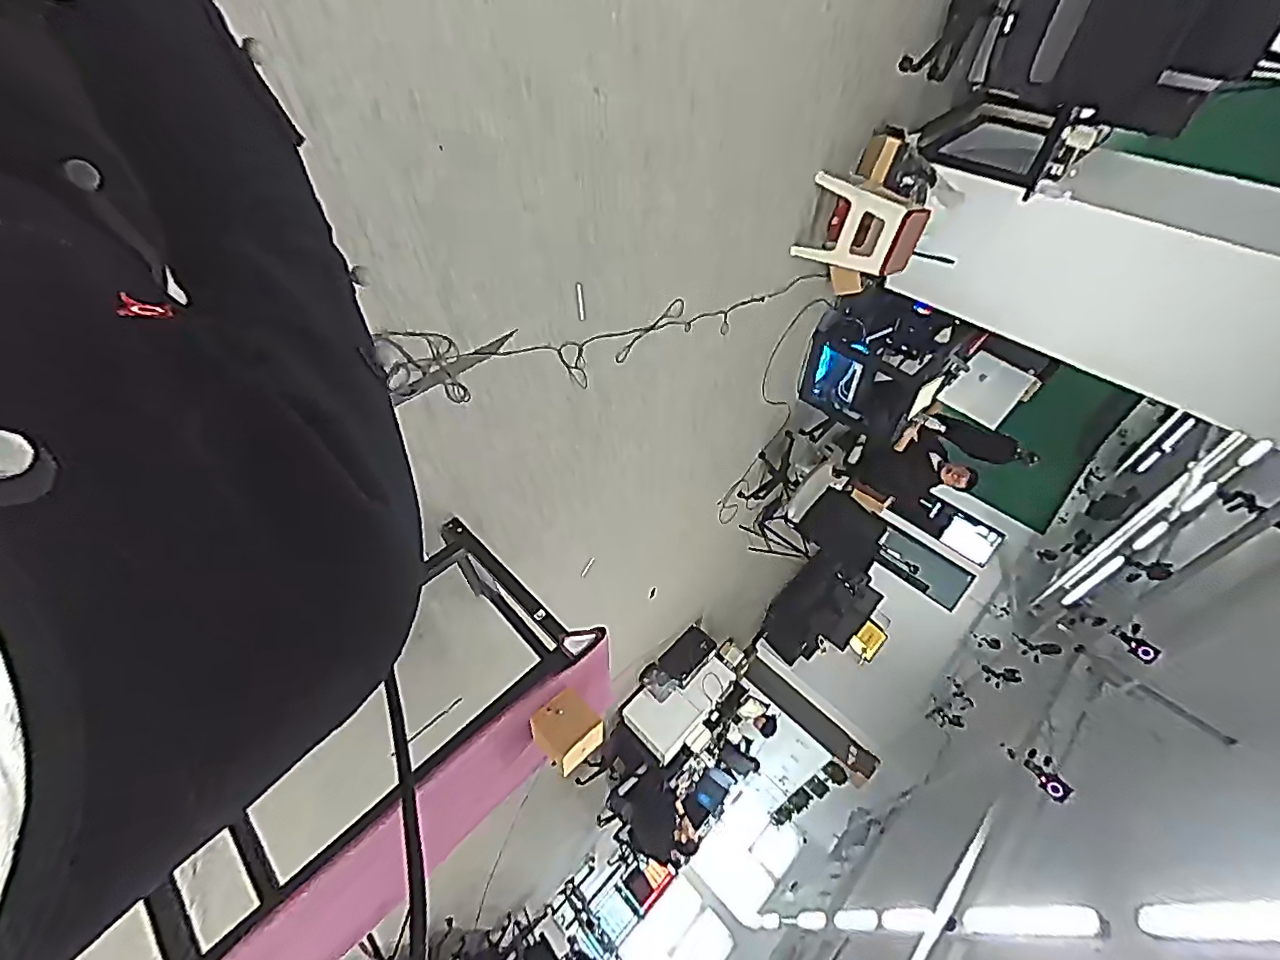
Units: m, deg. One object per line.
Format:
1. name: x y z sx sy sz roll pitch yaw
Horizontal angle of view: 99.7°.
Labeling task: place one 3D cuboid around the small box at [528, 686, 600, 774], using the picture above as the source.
1. small box: -0.248 0.810 1.762 0.168 0.176 0.179 -34 146 -33
